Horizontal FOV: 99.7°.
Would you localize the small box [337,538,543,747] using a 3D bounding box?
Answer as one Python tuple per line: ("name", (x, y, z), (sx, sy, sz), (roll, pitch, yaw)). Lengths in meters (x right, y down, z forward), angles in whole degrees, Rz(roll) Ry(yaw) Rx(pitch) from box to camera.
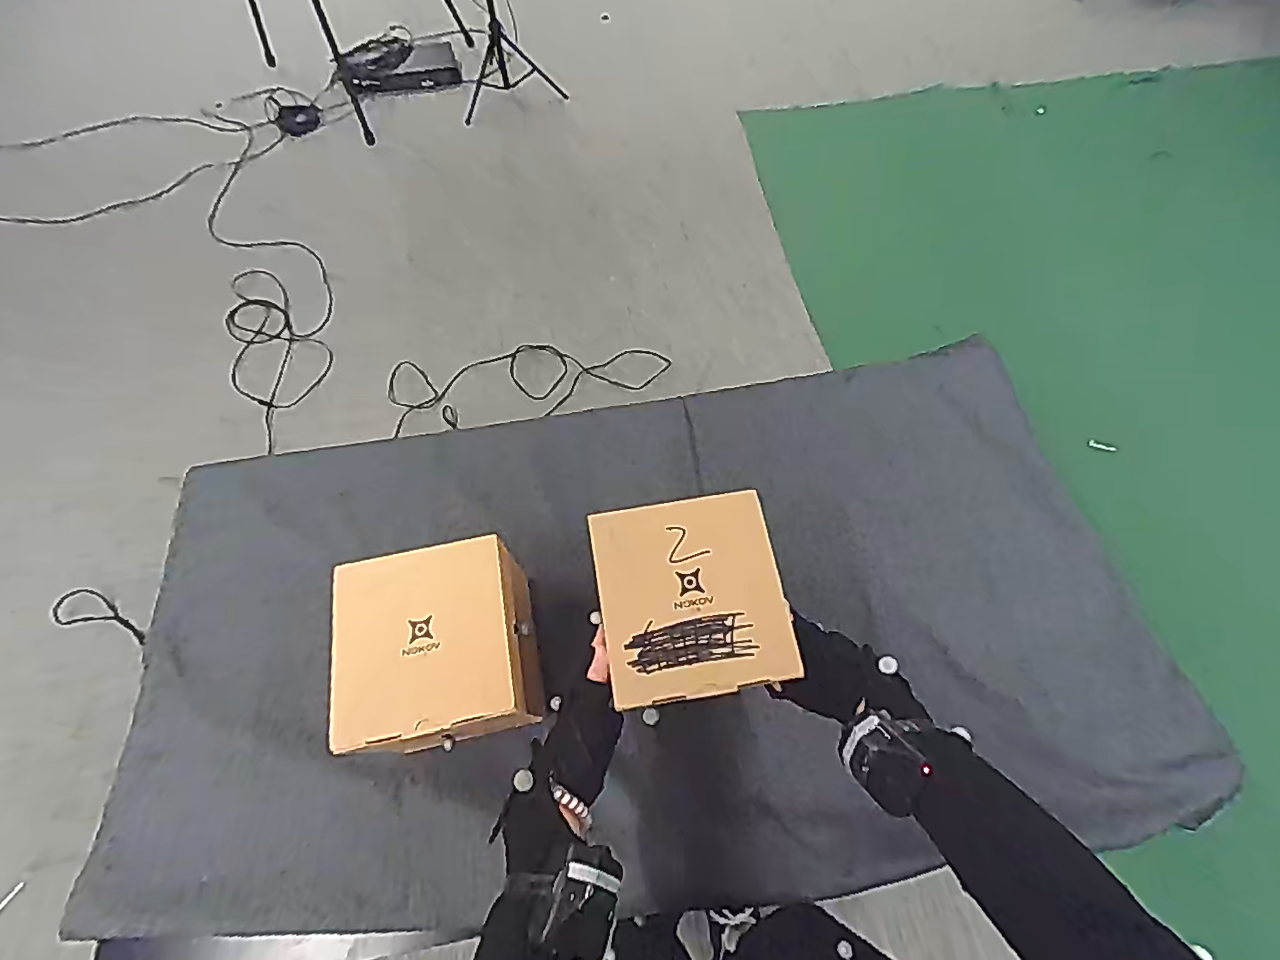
("small box", (-0.209, 0.185, 0.599), (0.168, 0.176, 0.179), (-11, 65, -5))
